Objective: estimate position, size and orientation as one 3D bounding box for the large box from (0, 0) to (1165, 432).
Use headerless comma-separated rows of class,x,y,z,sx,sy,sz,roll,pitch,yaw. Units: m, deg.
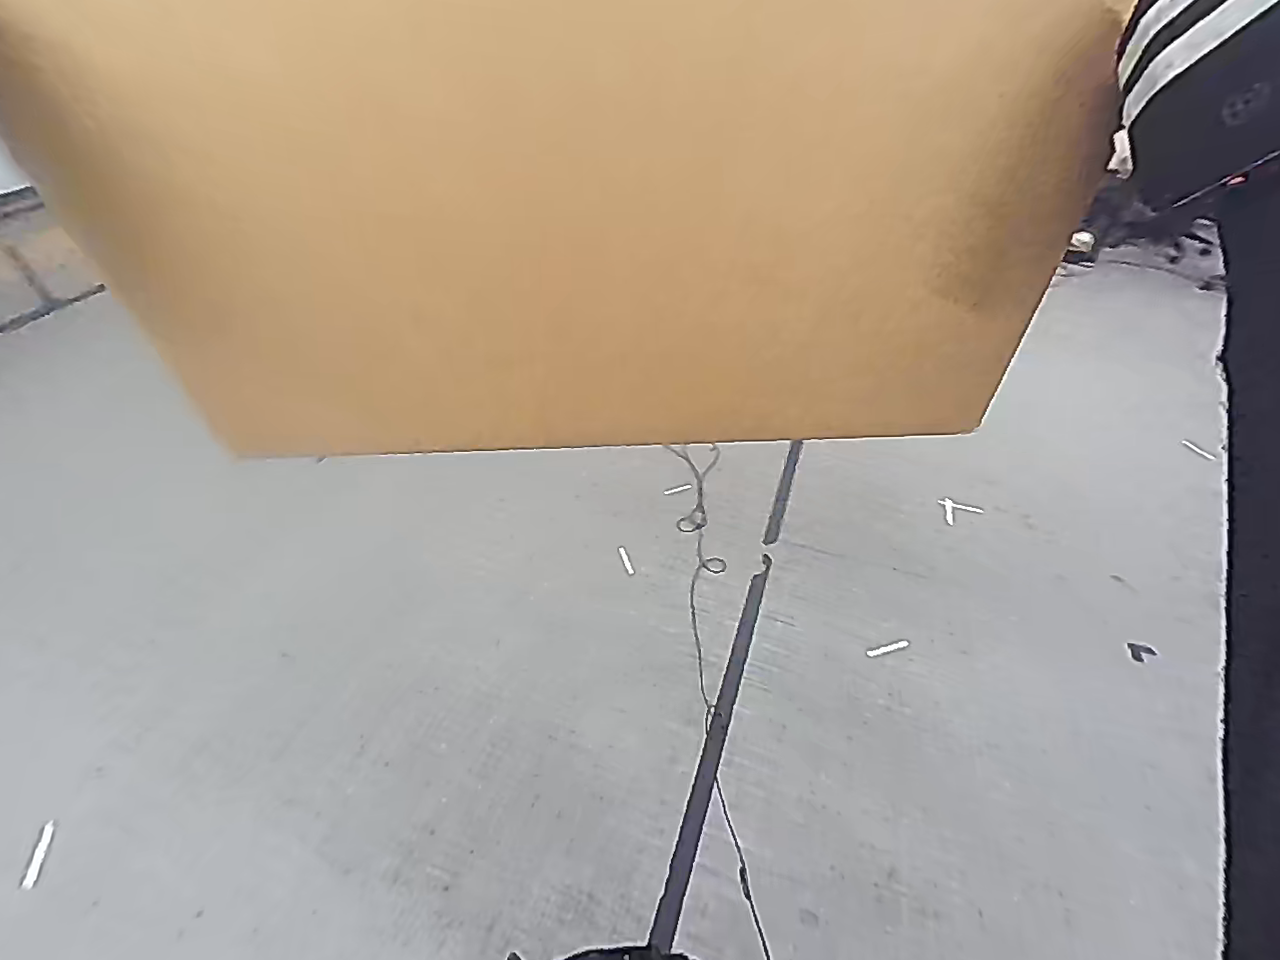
large box,-0.022,-0.239,0.305,0.408,0.320,0.320,-1,43,-1
